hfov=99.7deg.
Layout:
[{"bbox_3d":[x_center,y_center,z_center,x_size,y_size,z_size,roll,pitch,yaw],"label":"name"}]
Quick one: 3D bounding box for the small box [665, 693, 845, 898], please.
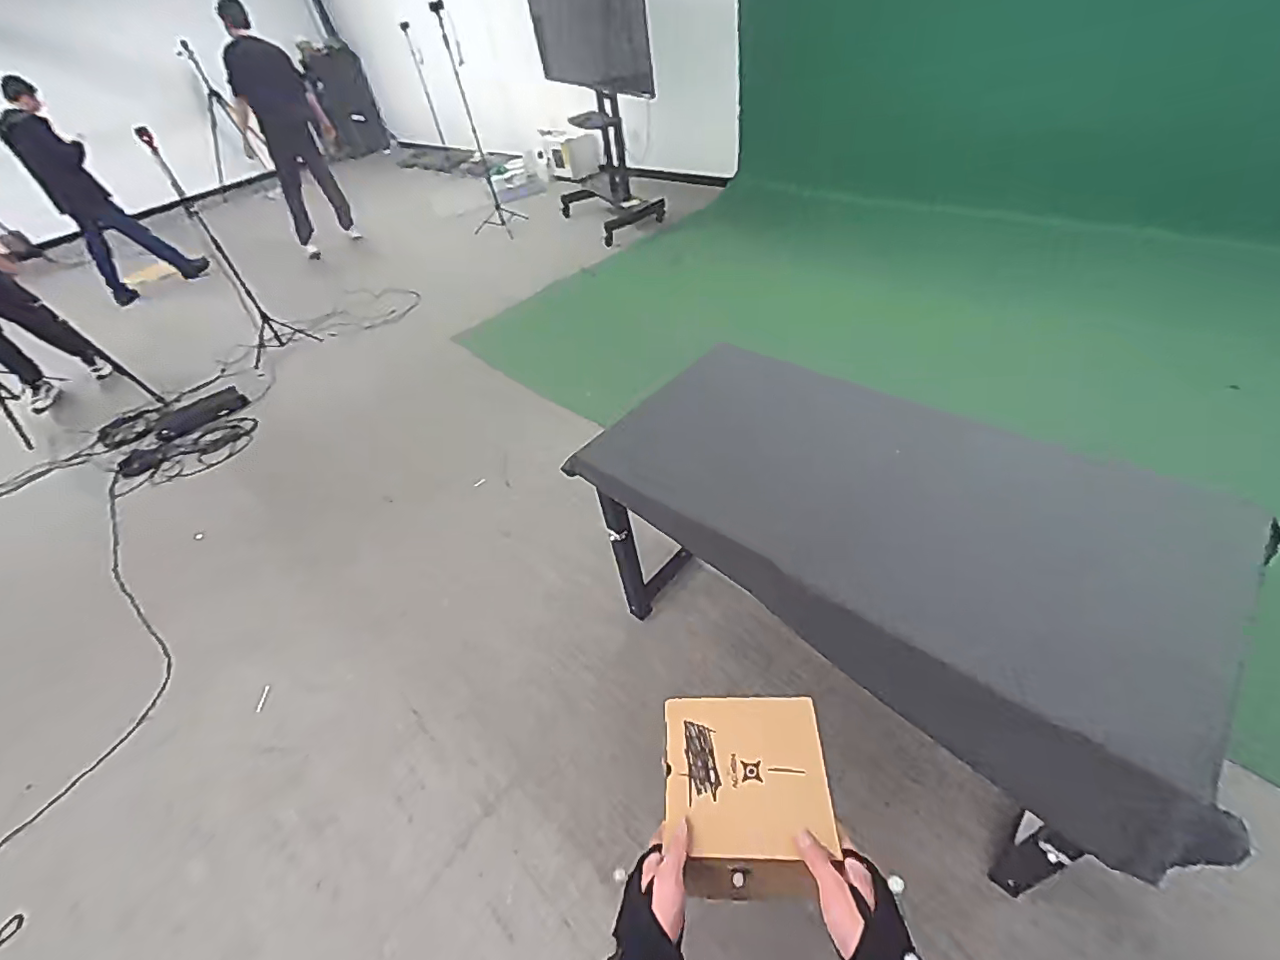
[{"bbox_3d":[0.124,0.369,0.635,0.179,0.176,0.168,-2,42,6],"label":"small box"}]
